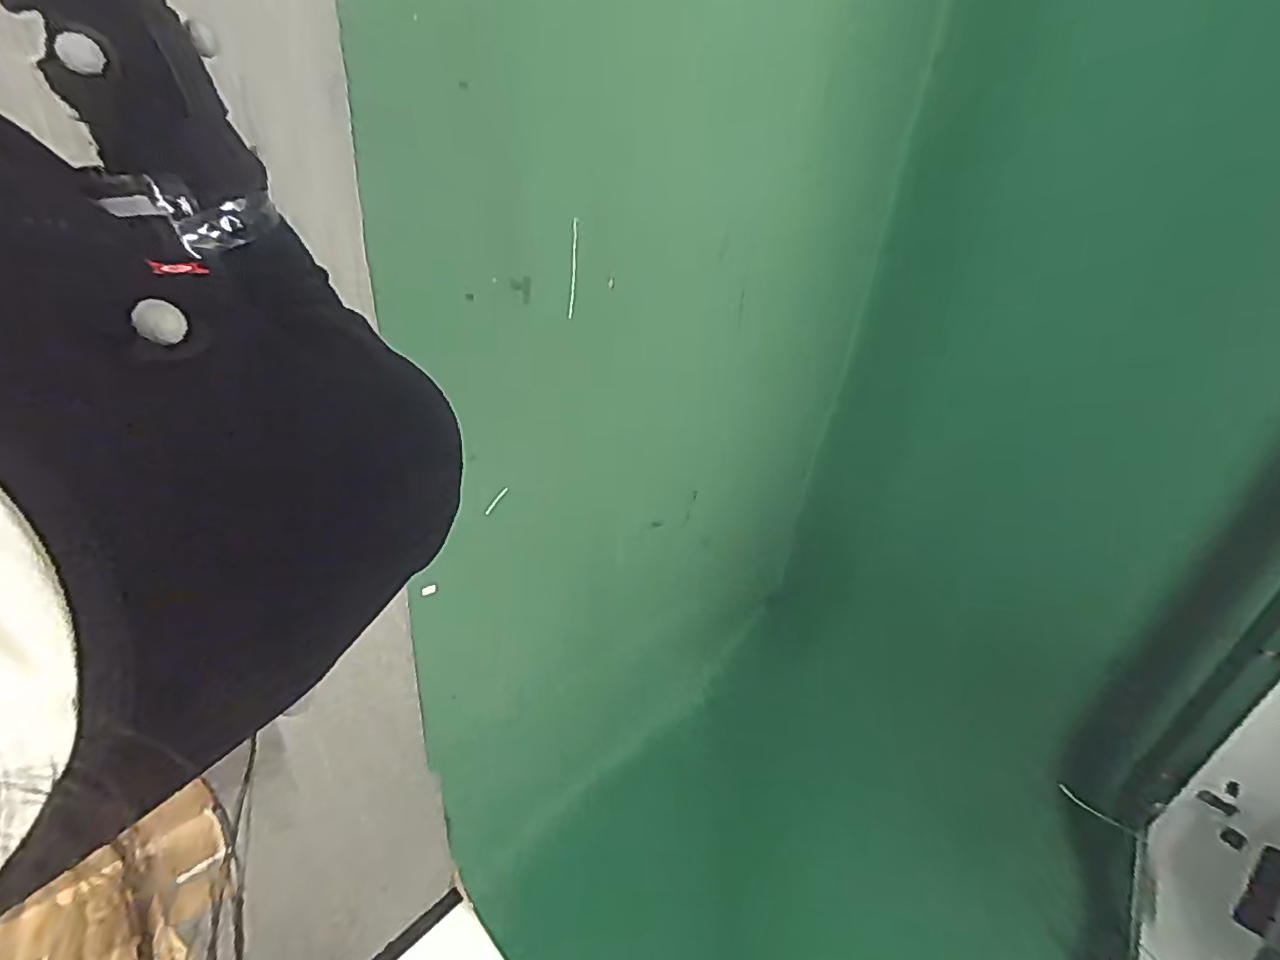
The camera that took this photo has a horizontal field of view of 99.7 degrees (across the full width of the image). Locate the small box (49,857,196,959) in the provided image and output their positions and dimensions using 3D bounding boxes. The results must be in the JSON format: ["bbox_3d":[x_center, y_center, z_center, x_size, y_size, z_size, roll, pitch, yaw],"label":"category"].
[{"bbox_3d":[-1.063,0.928,1.112,0.168,0.176,0.179,-26,130,-41],"label":"small box"}]
